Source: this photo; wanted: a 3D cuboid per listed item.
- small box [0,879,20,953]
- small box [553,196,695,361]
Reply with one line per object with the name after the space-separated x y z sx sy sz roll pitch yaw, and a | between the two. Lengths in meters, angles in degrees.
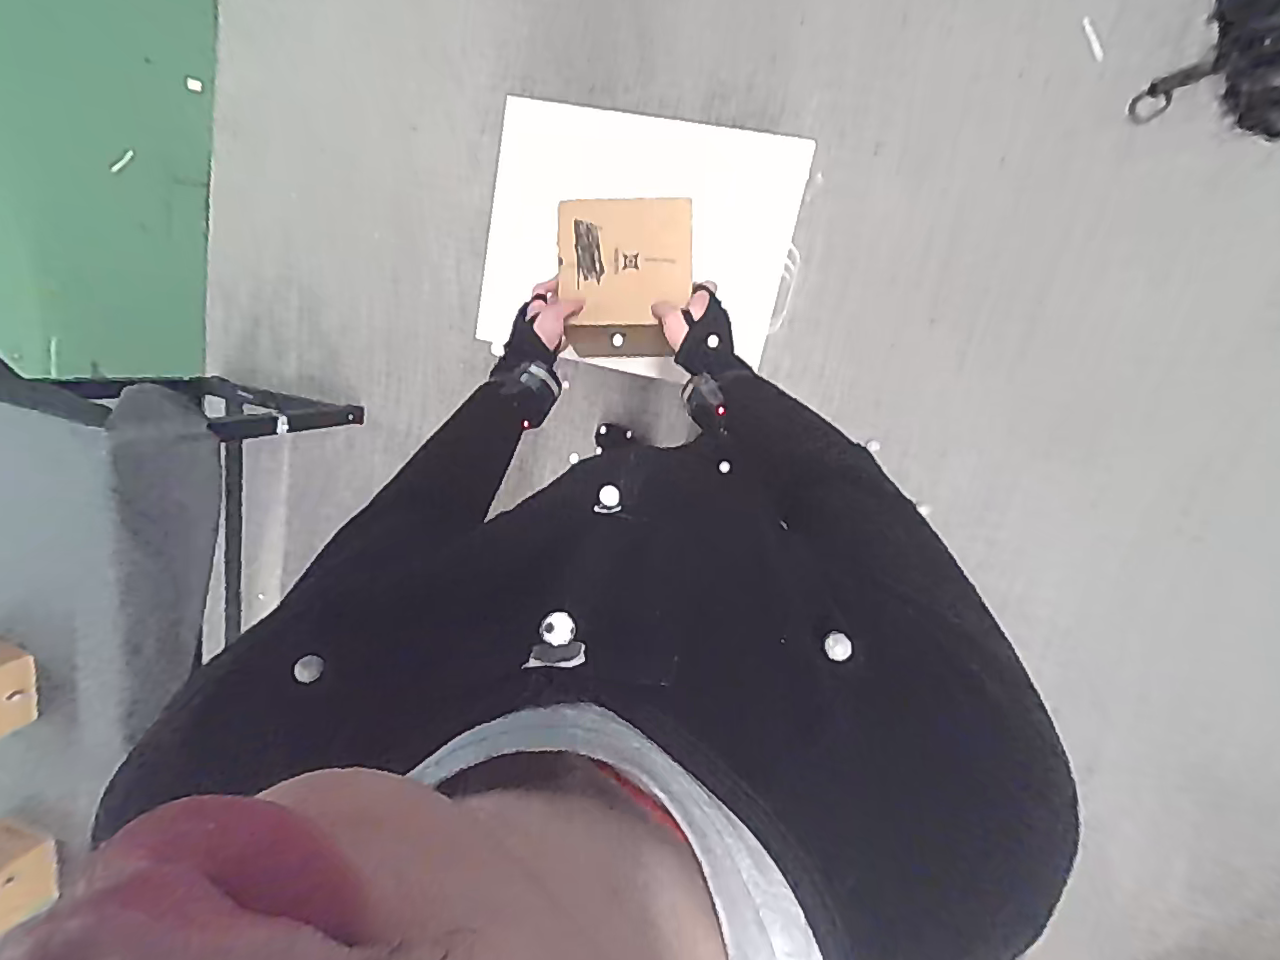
-1.489 0.962 1.148 0.168 0.176 0.179 11 103 9 | small box
-0.018 -0.265 0.745 0.179 0.176 0.168 -1 88 1 | small box
